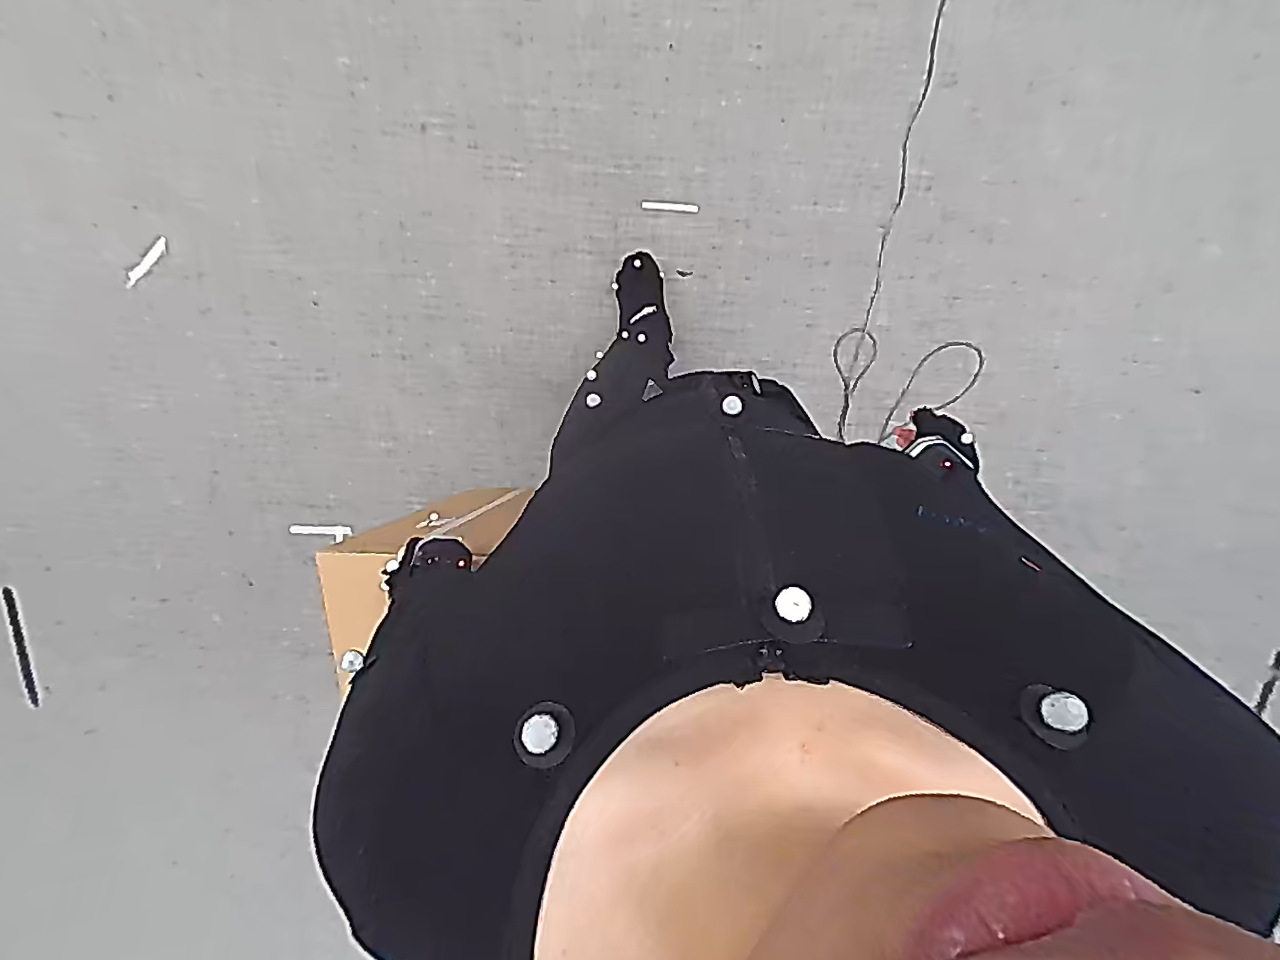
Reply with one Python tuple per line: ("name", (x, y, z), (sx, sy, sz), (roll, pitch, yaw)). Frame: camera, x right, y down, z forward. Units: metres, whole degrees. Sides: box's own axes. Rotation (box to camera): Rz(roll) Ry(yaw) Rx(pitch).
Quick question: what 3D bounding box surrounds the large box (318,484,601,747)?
("large box", (-0.278, 0.203, 0.978), (0.320, 0.408, 0.320), (-1, 102, 15))
